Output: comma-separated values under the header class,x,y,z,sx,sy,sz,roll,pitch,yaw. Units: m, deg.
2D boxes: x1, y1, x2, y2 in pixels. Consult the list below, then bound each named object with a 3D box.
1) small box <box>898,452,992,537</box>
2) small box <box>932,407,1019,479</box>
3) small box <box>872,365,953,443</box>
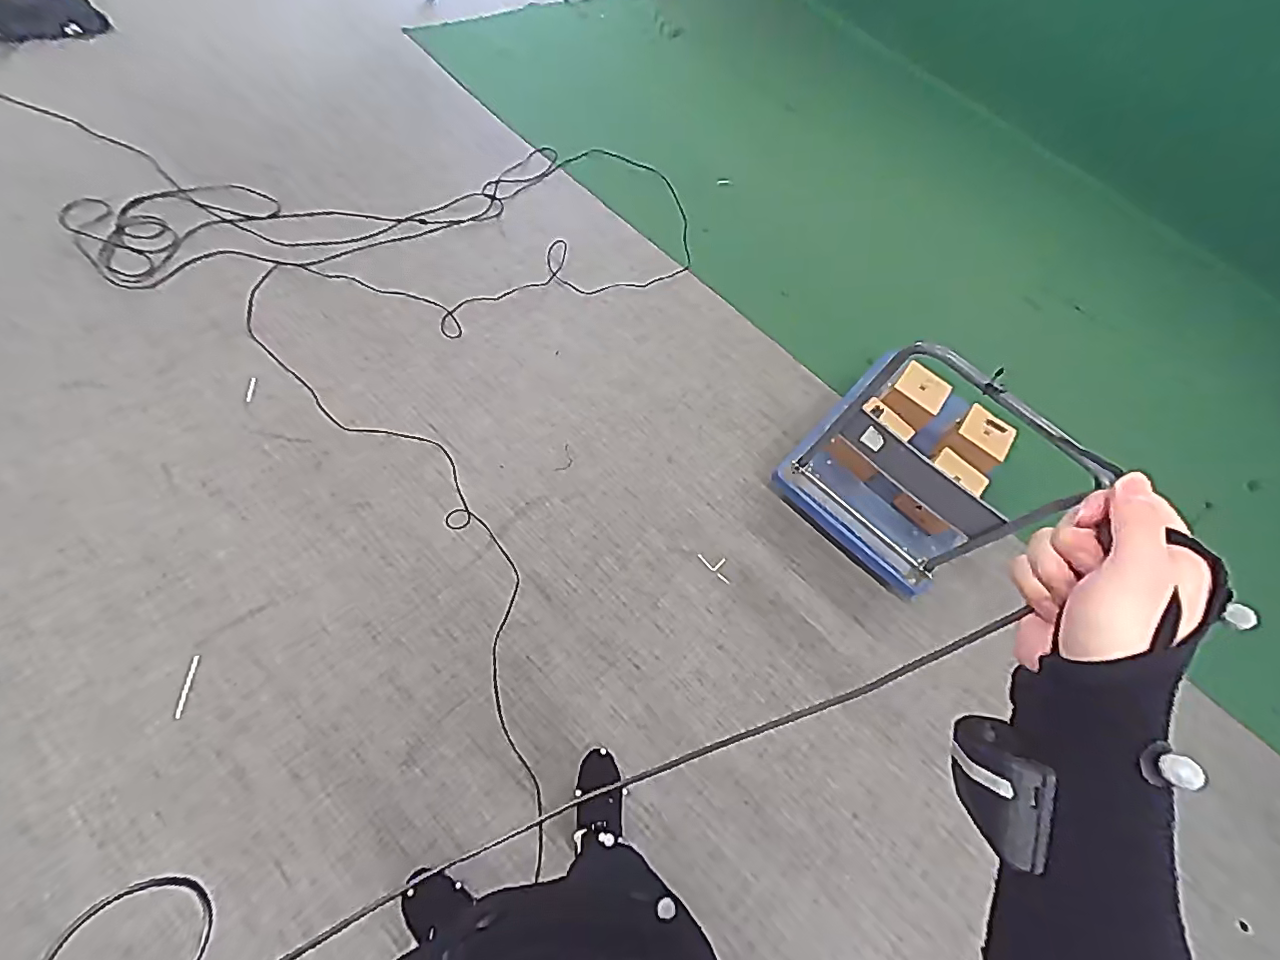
class,x,y,z,sx,sy,sz,roll,pitch,yaw
small box,0.964,0.049,1.724,0.168,0.176,0.179,43,62,13
small box,1.143,-0.108,1.852,0.168,0.176,0.179,38,61,11
small box,0.948,-0.261,1.897,0.168,0.176,0.179,39,60,10
